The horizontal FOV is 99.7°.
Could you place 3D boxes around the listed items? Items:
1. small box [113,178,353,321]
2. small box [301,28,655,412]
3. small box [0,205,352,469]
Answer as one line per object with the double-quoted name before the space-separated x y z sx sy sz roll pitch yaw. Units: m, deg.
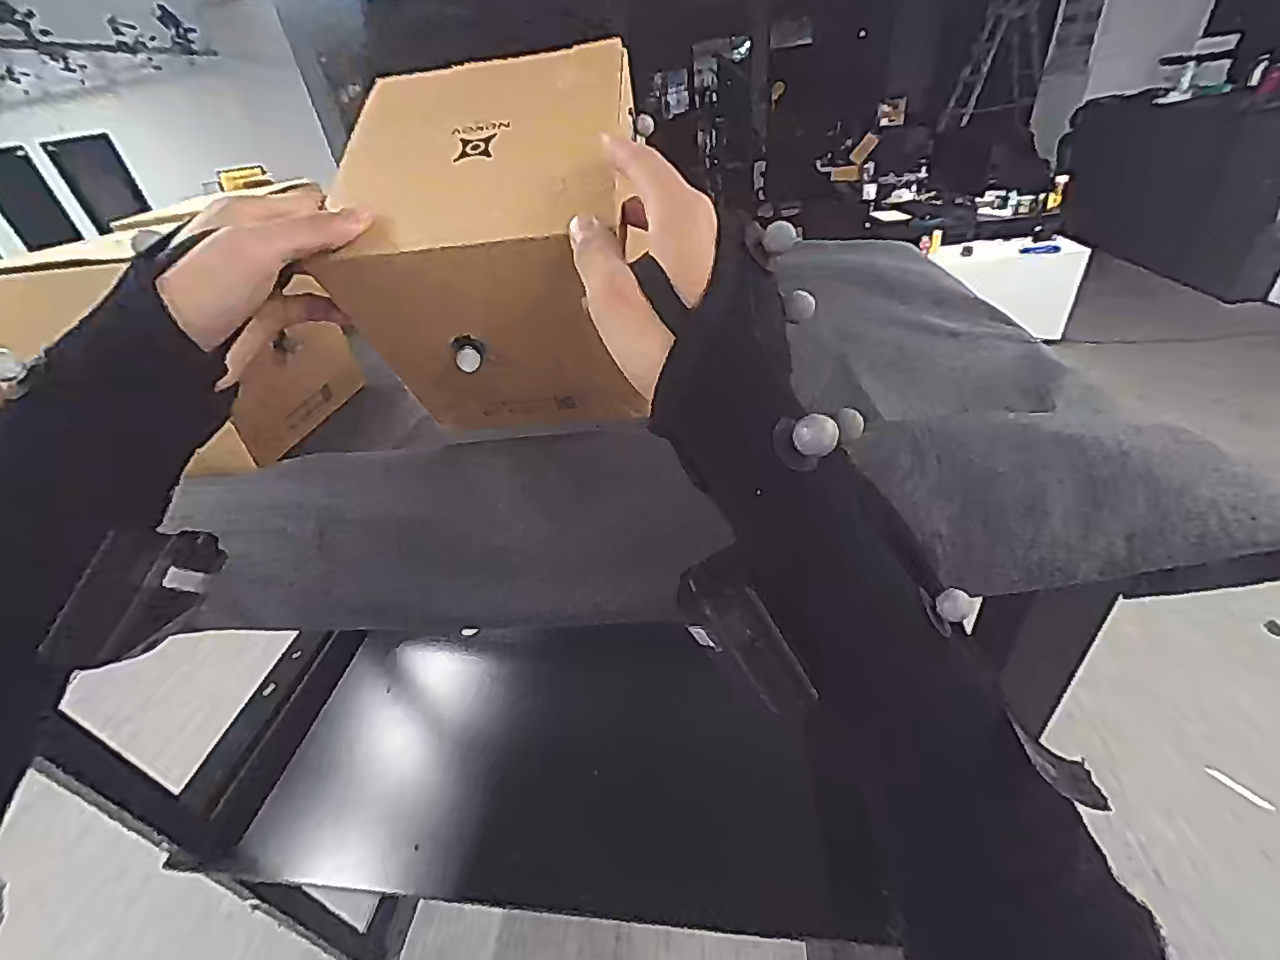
"small box" -0.509 -0.289 0.719 0.168 0.176 0.179 -7 35 4
"small box" -0.080 -0.159 0.373 0.168 0.176 0.179 -4 60 7
"small box" -0.387 -0.121 0.459 0.179 0.176 0.168 -2 35 7
